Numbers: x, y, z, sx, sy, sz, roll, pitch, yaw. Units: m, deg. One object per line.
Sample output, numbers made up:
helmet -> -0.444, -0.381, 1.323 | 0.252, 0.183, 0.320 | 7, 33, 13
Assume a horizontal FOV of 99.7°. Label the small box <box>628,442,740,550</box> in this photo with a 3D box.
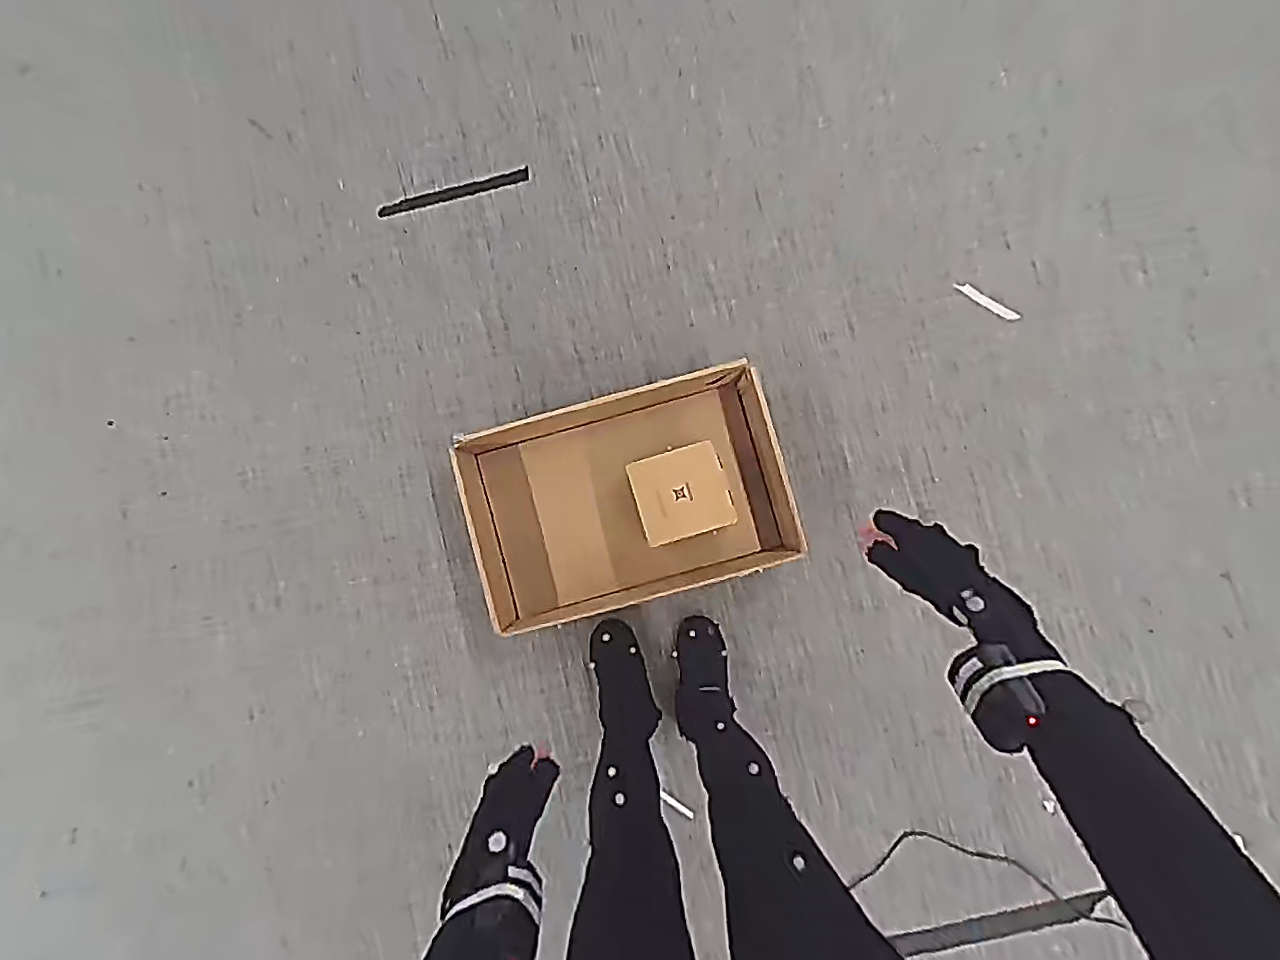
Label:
small box -> 0.084, 0.033, 1.088 | 0.179, 0.176, 0.168 | -17, 85, 2
